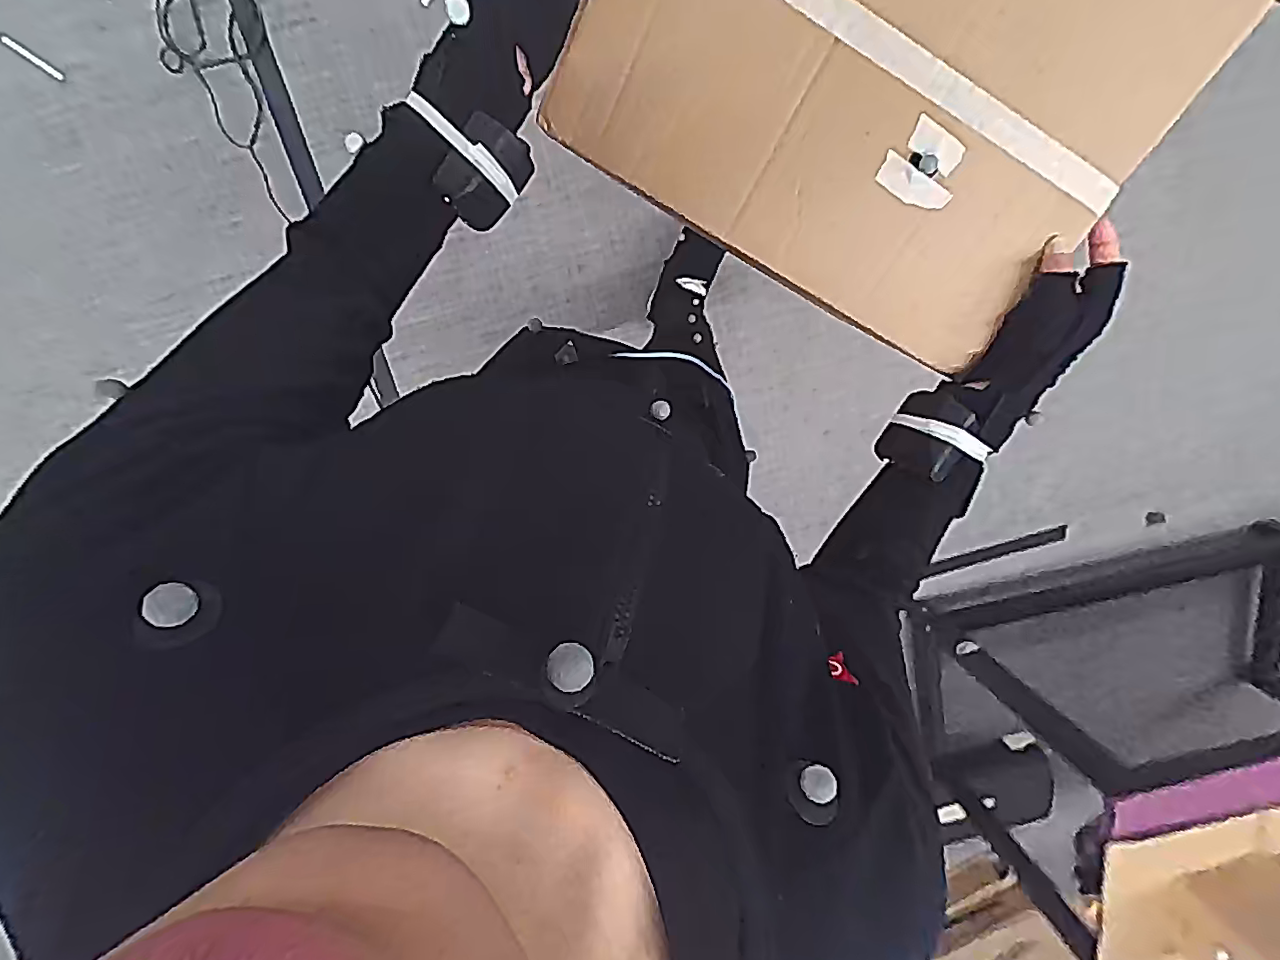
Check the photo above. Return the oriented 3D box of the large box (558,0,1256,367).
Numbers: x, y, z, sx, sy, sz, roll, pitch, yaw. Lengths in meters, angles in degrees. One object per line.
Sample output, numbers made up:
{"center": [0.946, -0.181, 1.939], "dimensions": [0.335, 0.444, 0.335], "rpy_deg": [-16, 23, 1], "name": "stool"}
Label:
{"center": [0.184, -0.367, 0.524], "dimensions": [0.408, 0.320, 0.320], "rpy_deg": [27, 114, -10], "name": "large box"}
